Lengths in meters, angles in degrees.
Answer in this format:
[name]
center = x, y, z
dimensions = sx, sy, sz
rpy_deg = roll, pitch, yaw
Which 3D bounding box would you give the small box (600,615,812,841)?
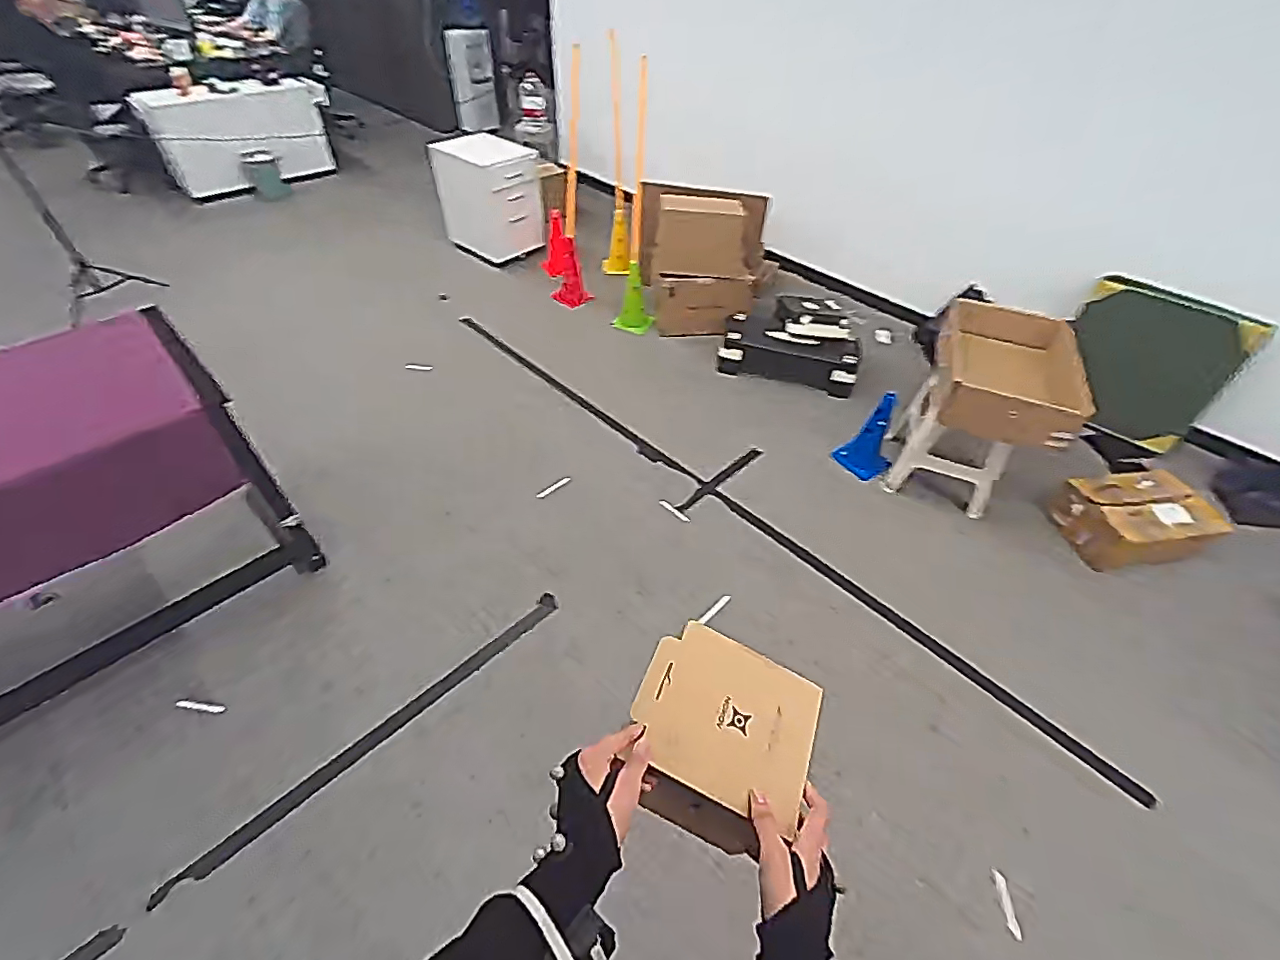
[small box]
center = 0.071, 0.296, 0.635
dimensions = 0.179, 0.176, 0.168
rpy_deg = 27, 50, 4
